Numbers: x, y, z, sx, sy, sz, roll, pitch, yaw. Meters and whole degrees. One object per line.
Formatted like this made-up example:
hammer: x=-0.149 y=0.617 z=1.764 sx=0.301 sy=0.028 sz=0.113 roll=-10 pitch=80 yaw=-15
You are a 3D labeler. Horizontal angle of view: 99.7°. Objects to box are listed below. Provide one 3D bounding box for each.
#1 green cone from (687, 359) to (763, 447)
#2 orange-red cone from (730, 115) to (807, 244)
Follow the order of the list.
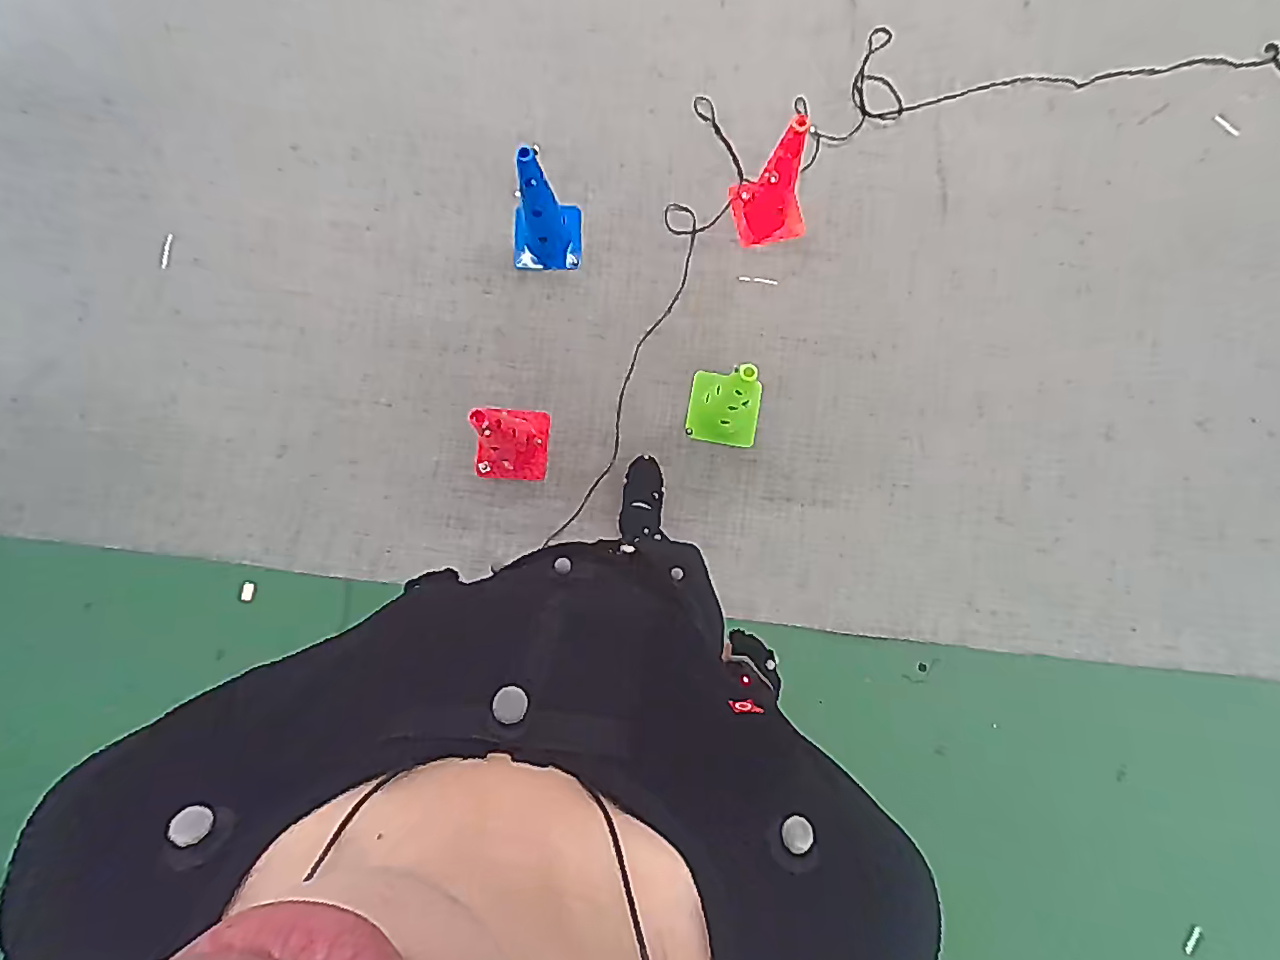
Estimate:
green cone: x=0.247 y=-0.223 z=1.378 sx=0.200 sy=0.368 sz=0.202 roll=9 pitch=83 yaw=0
orange-red cone: x=0.378 y=-0.827 z=1.447 sx=0.198 sy=0.360 sz=0.199 roll=-12 pitch=86 yaw=-1
